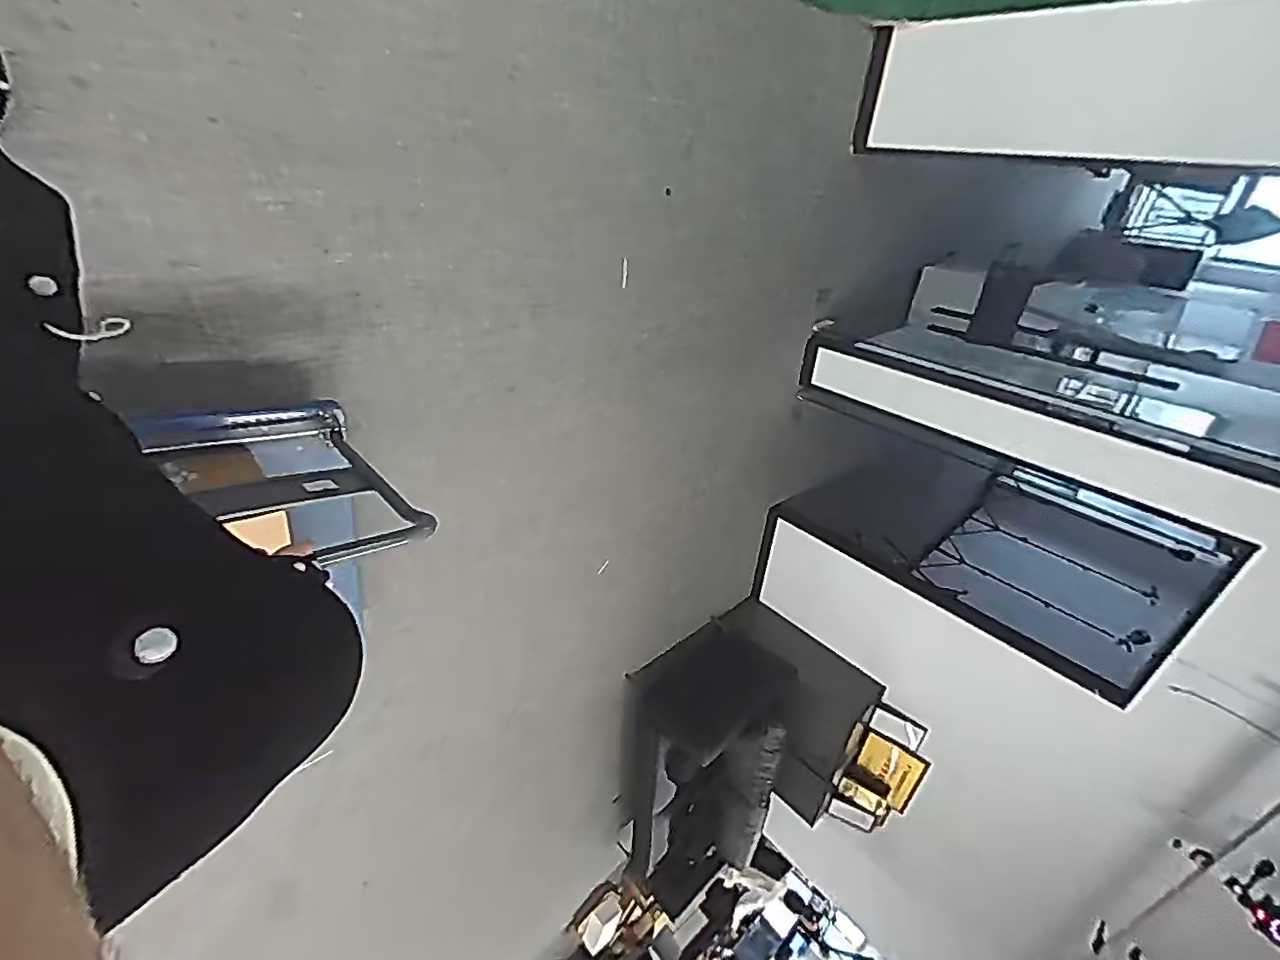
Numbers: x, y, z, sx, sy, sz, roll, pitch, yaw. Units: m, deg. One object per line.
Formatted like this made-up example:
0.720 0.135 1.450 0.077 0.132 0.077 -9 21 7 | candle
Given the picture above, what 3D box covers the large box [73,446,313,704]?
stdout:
-0.964 0.185 1.189 0.320 0.320 0.408 -16 126 -41 | large box
